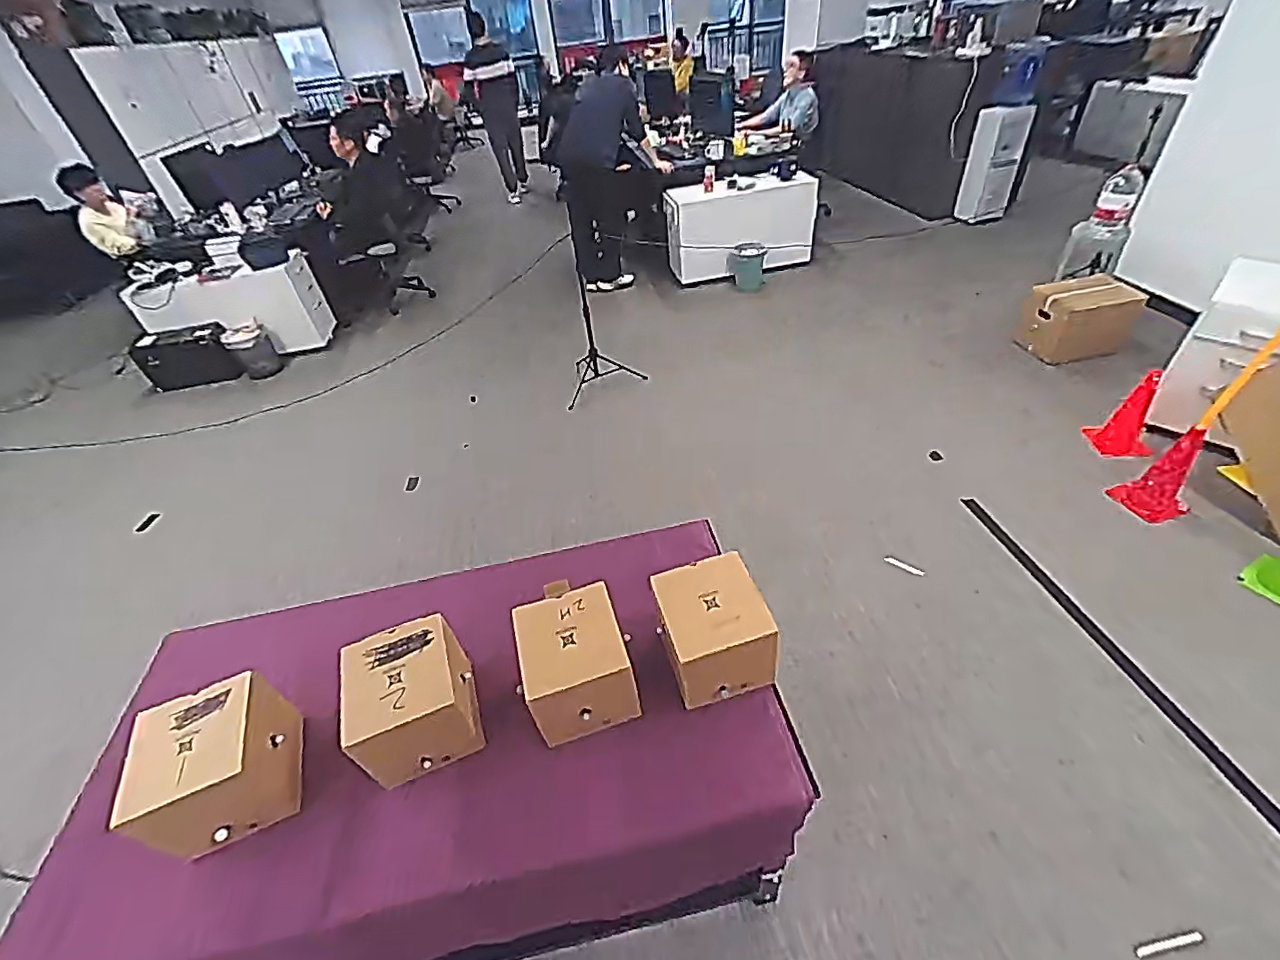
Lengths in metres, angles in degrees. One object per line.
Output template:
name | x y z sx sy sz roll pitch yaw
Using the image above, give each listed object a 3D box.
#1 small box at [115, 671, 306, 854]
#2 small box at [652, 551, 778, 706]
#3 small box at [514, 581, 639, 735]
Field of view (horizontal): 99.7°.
small box | -0.659 0.447 0.859 0.168 0.176 0.179 -21 44 -14
small box | 0.126 0.259 0.947 0.168 0.176 0.179 -16 41 -6
small box | -0.106 0.310 0.927 0.168 0.176 0.179 -16 42 -9
